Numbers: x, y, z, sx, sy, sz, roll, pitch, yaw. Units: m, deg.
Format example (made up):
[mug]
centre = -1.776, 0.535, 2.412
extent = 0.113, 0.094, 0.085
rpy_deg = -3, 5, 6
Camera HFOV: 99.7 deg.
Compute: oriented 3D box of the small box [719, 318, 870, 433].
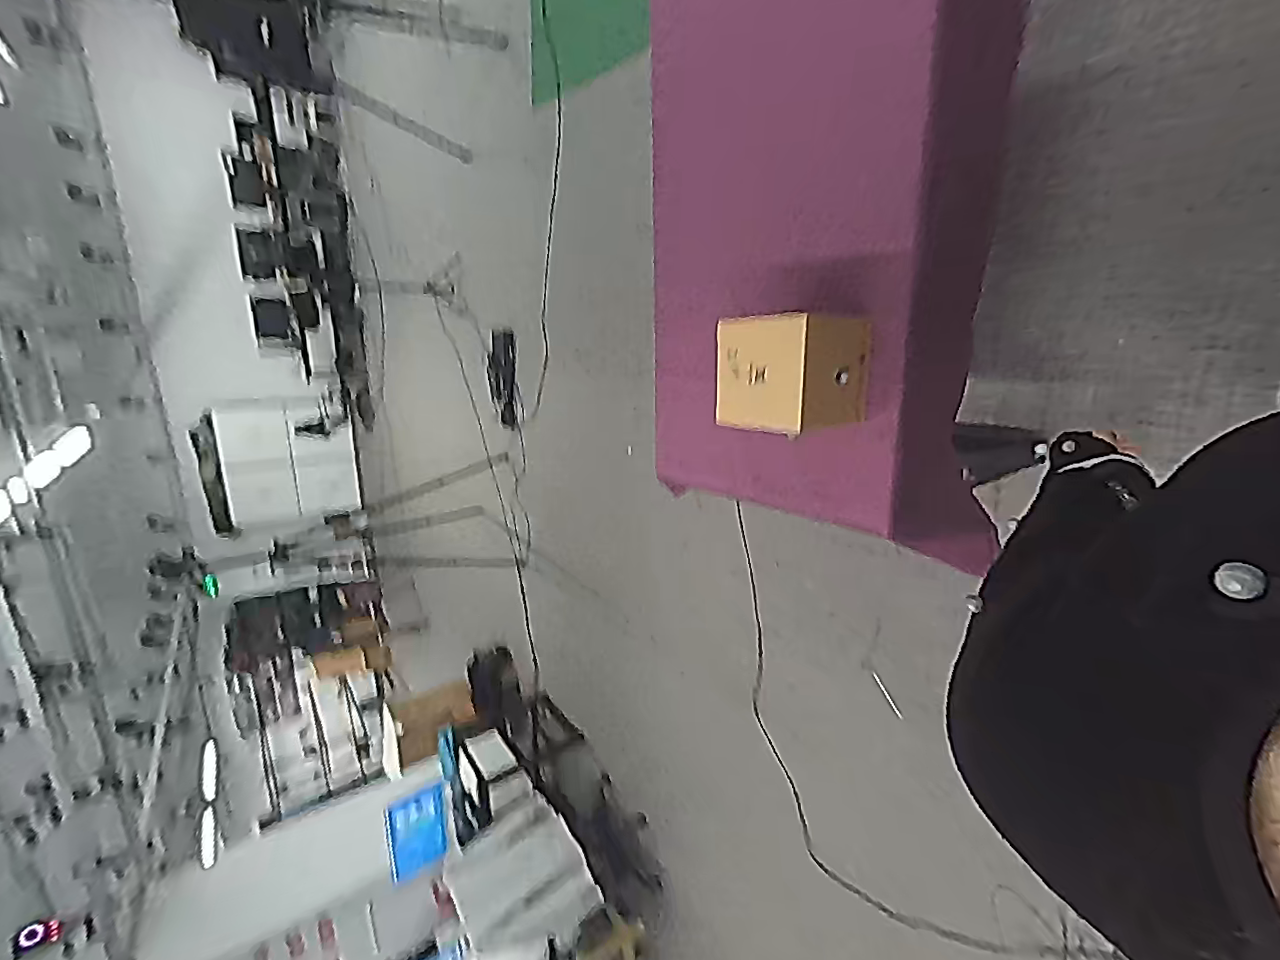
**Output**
[small box]
centre = 0.249, -0.174, 0.879
extent = 0.179, 0.176, 0.168
rpy_deg = 16, 111, 52
